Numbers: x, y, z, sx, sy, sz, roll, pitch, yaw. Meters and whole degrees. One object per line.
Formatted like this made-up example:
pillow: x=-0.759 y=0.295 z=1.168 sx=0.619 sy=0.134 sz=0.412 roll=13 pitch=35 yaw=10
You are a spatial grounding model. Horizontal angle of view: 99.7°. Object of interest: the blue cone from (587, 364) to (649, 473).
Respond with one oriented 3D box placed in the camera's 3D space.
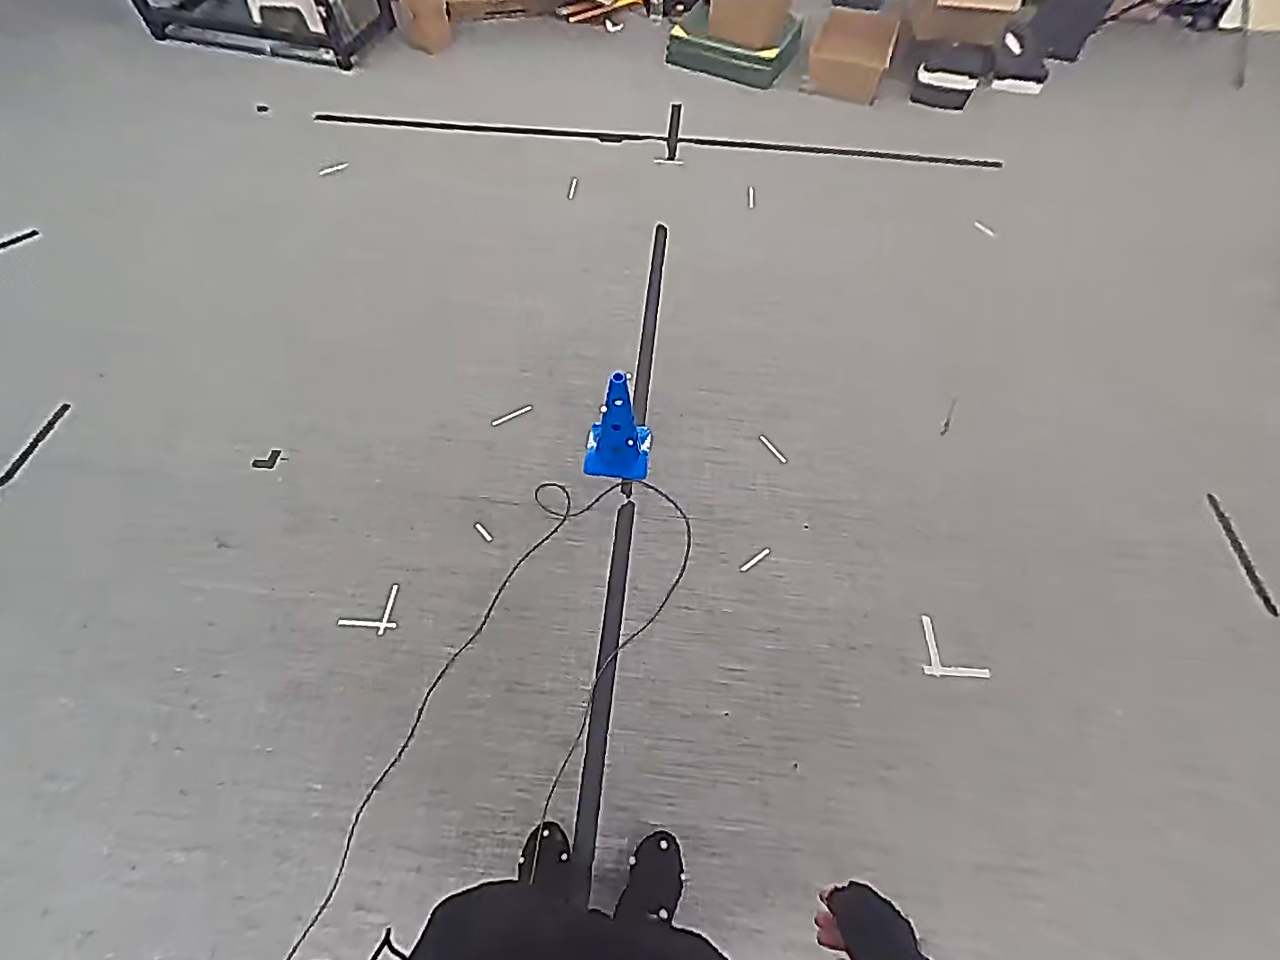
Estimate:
blue cone: x=-0.066 y=-0.188 z=1.559 sx=0.193 sy=0.380 sz=0.192 roll=4 pitch=60 yaw=1
